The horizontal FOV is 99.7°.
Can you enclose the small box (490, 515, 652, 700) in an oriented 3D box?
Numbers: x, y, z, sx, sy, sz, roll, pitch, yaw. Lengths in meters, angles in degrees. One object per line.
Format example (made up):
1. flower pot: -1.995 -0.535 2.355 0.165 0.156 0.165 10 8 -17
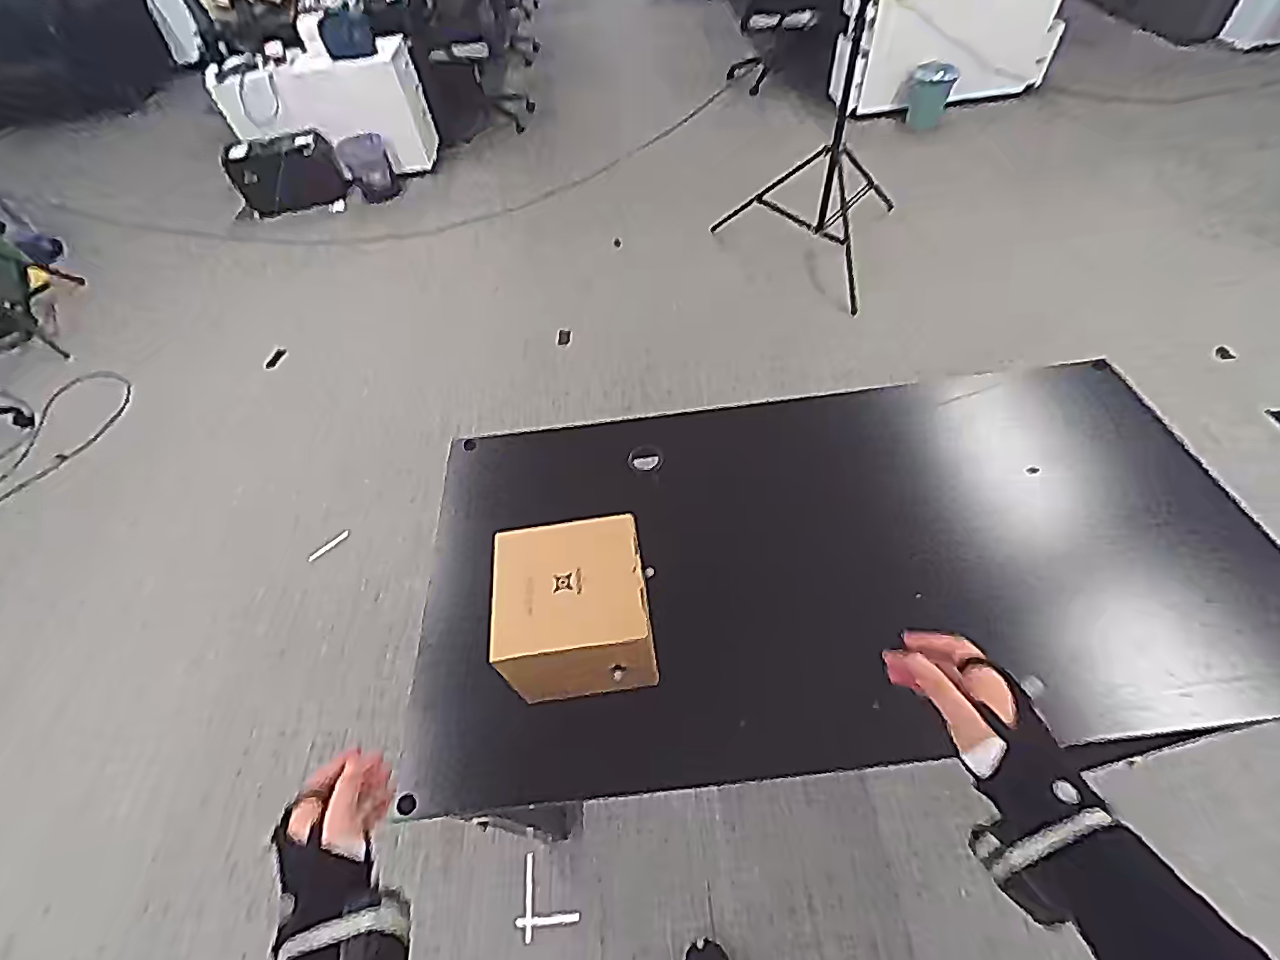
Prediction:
1. small box: -0.081 0.168 0.698 0.179 0.176 0.168 -9 52 0
